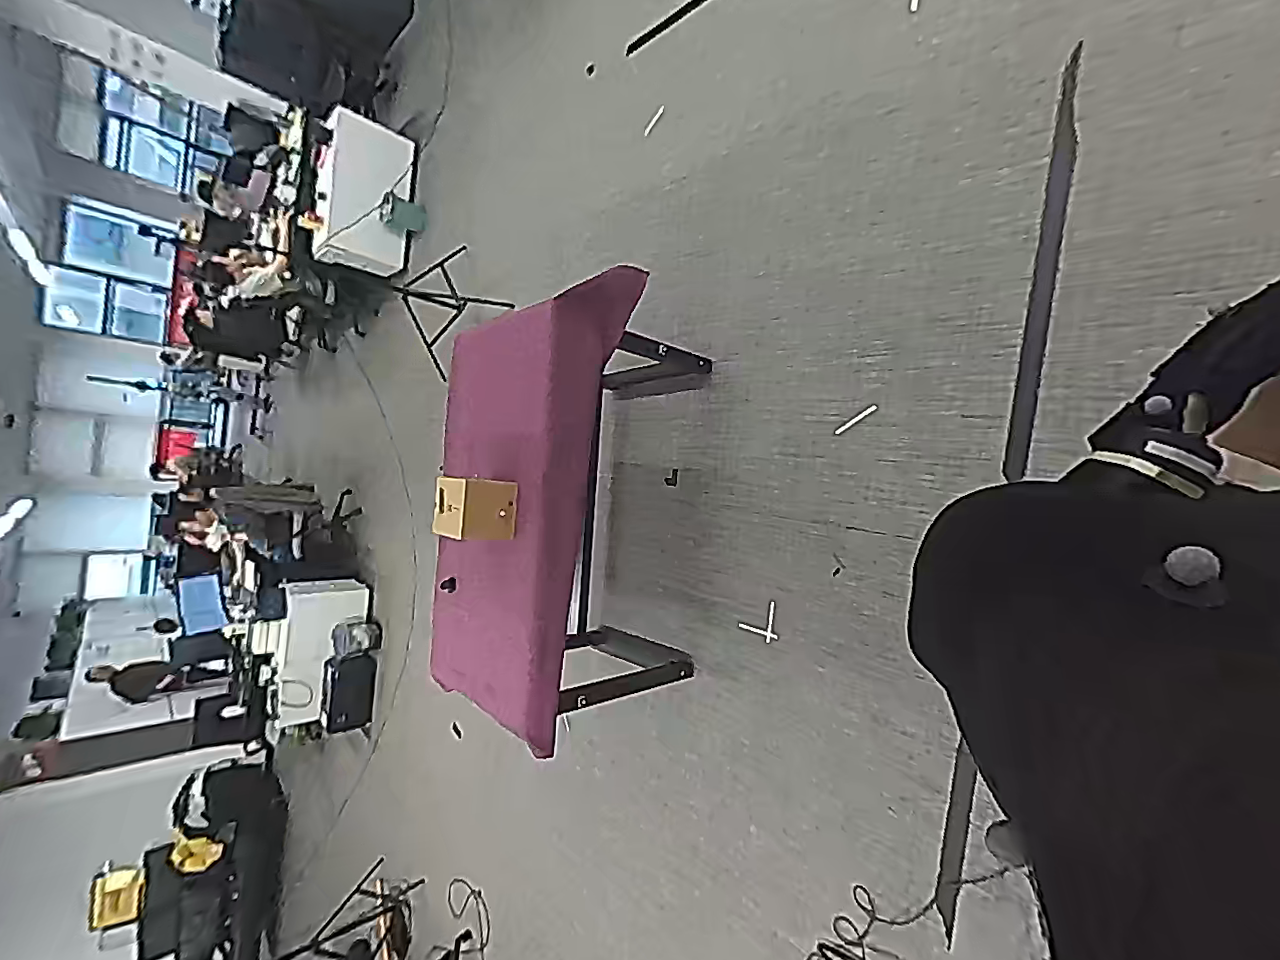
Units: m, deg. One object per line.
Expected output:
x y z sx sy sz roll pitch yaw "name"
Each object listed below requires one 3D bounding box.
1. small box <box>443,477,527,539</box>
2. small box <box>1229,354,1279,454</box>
-0.452 0.082 1.577 0.179 0.176 0.168 4 89 47 "small box"
0.650 -0.099 0.427 0.168 0.176 0.179 -45 52 -11 "small box"
